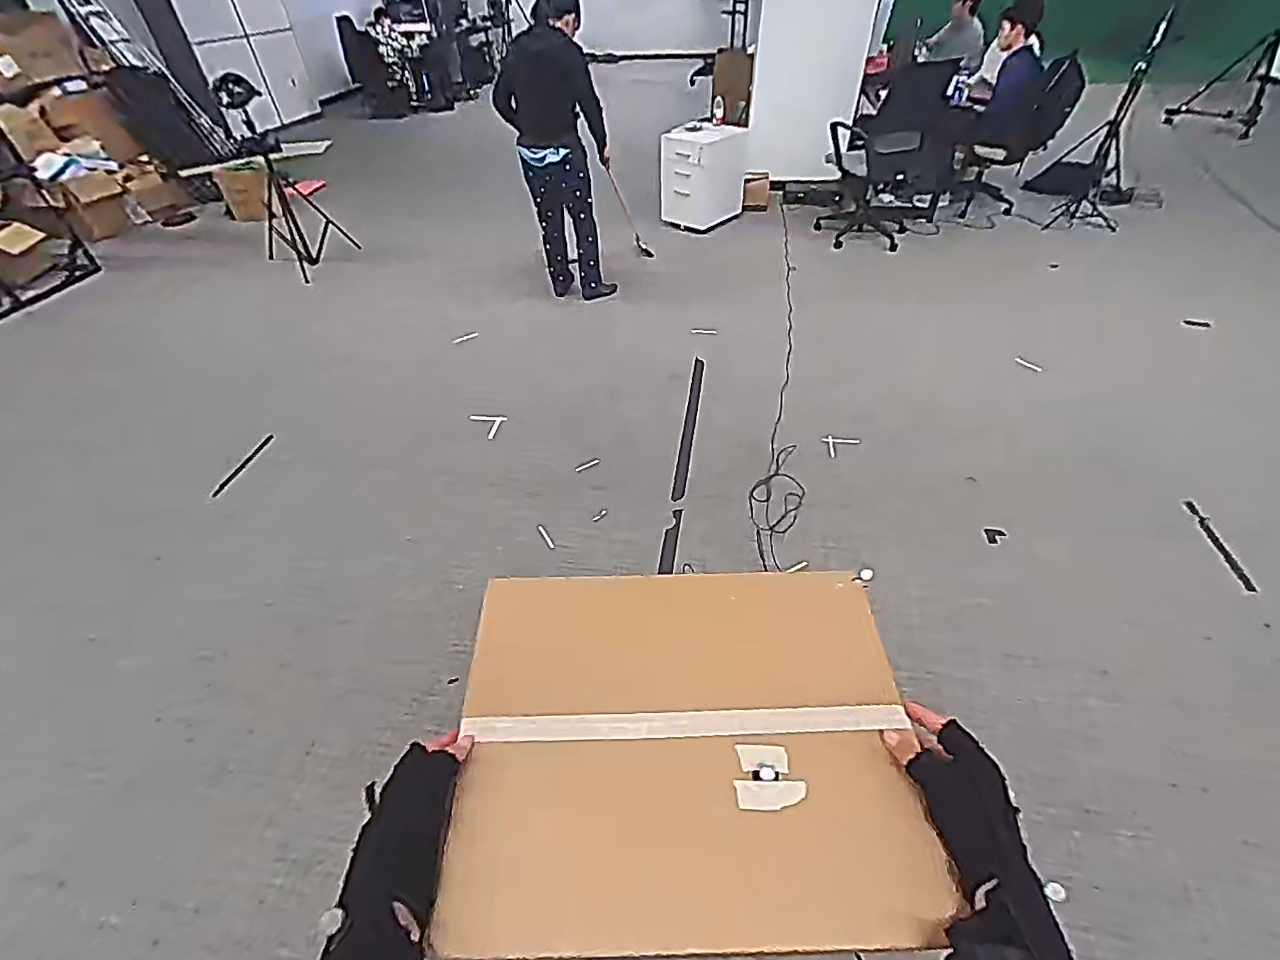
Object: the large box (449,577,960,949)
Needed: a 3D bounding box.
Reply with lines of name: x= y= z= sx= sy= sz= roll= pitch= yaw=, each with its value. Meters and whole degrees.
large box: x=0.047 y=0.327 z=0.620 sx=0.408 sy=0.320 sz=0.320 roll=-1 pitch=50 yaw=0
